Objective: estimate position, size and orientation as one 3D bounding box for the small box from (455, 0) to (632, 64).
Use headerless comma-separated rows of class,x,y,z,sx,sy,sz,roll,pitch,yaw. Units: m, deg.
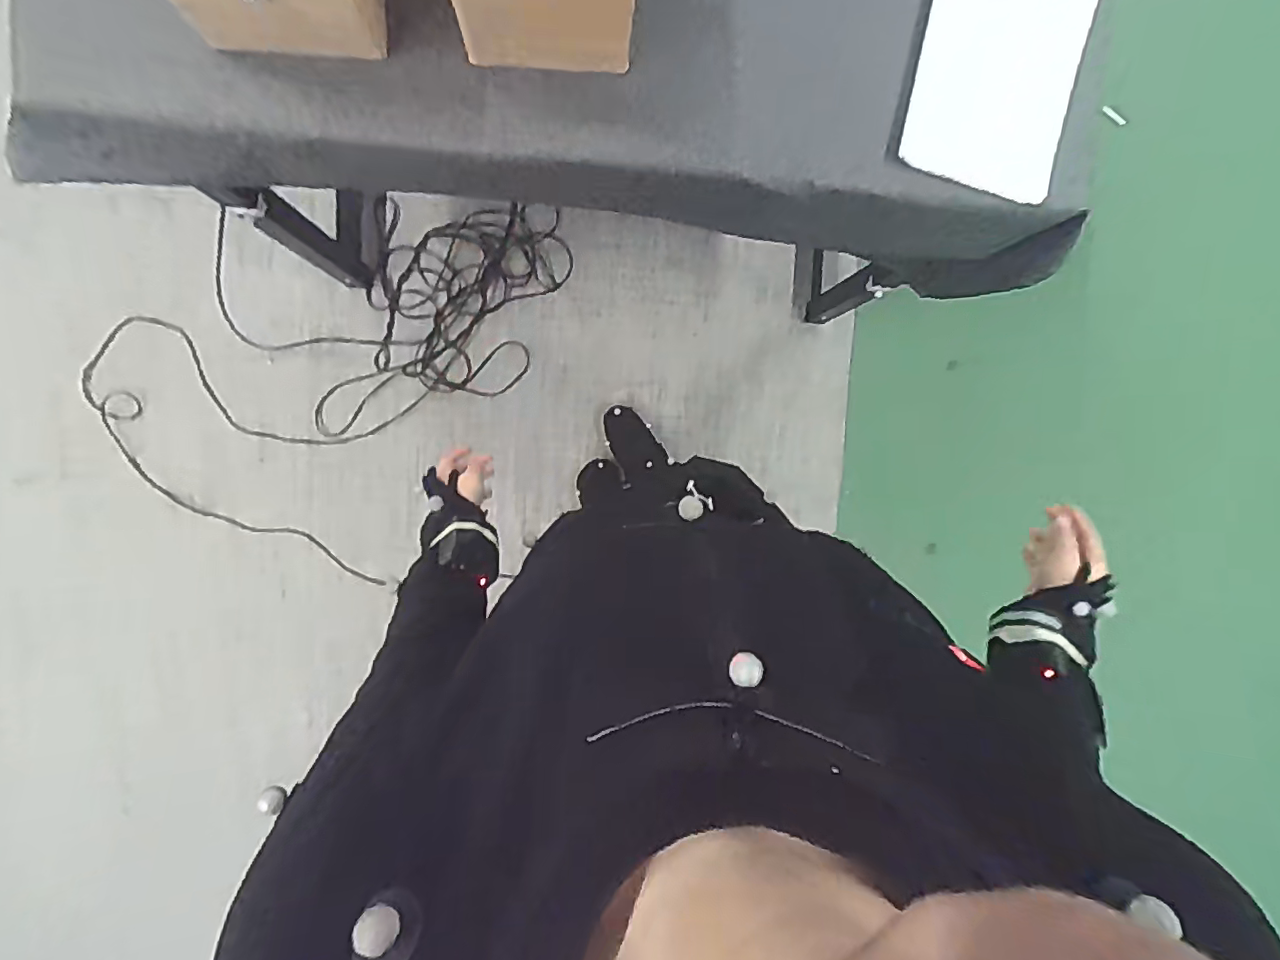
small box,-0.094,-0.537,0.512,0.179,0.176,0.168,-2,94,-7
